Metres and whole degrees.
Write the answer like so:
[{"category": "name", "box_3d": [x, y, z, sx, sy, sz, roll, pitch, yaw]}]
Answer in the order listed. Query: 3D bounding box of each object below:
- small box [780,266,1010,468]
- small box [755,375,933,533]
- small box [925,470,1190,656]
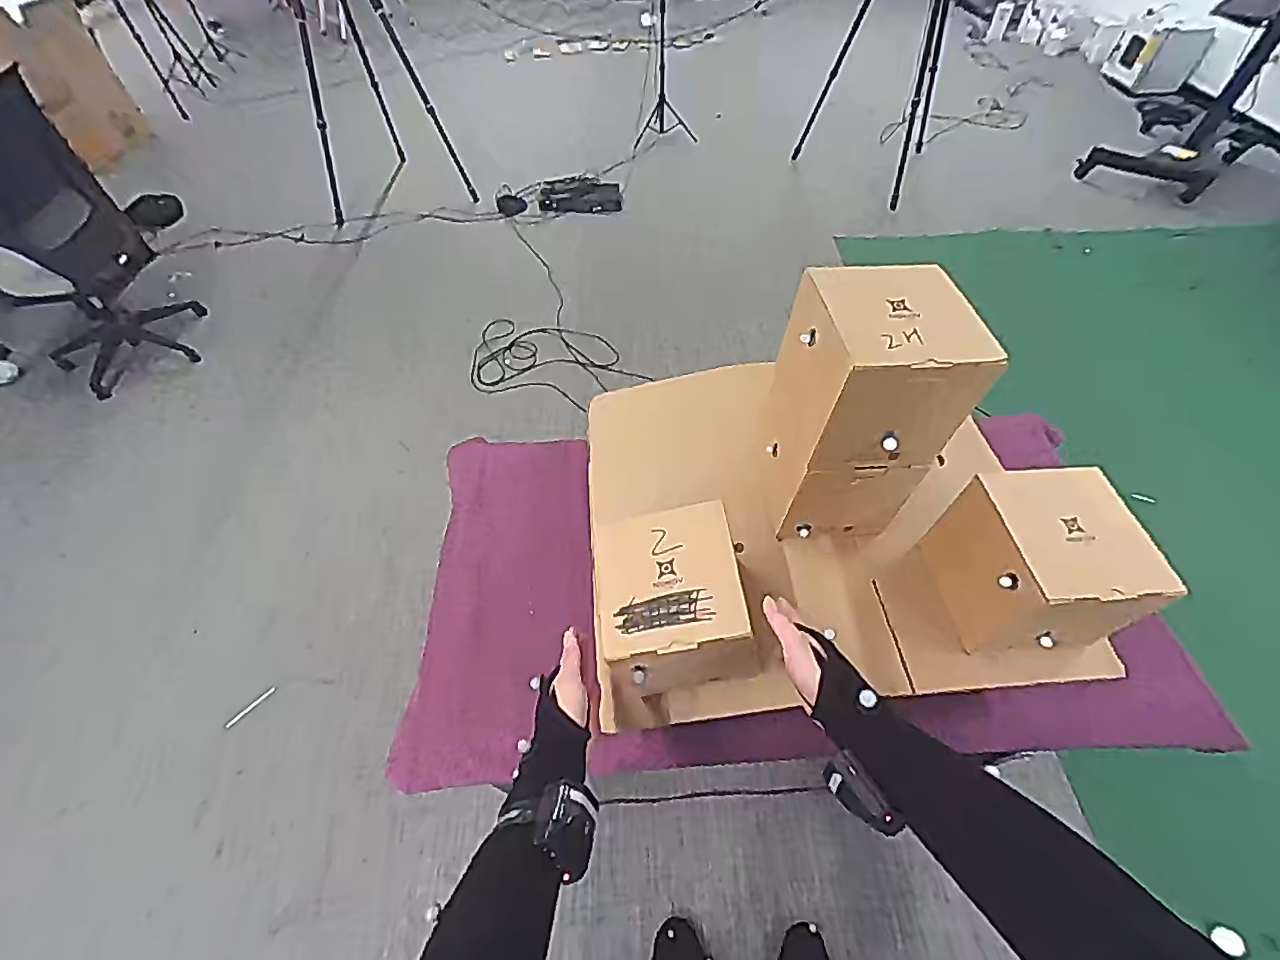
[{"category": "small box", "box_3d": [0.281, -0.134, 0.648, 0.168, 0.176, 0.179, -3, 54, -4]}, {"category": "small box", "box_3d": [0.276, -0.034, 0.778, 0.168, 0.176, 0.179, -3, 53, -5]}, {"category": "small box", "box_3d": [0.500, 0.107, 0.687, 0.168, 0.176, 0.179, -3, 54, -4]}]
